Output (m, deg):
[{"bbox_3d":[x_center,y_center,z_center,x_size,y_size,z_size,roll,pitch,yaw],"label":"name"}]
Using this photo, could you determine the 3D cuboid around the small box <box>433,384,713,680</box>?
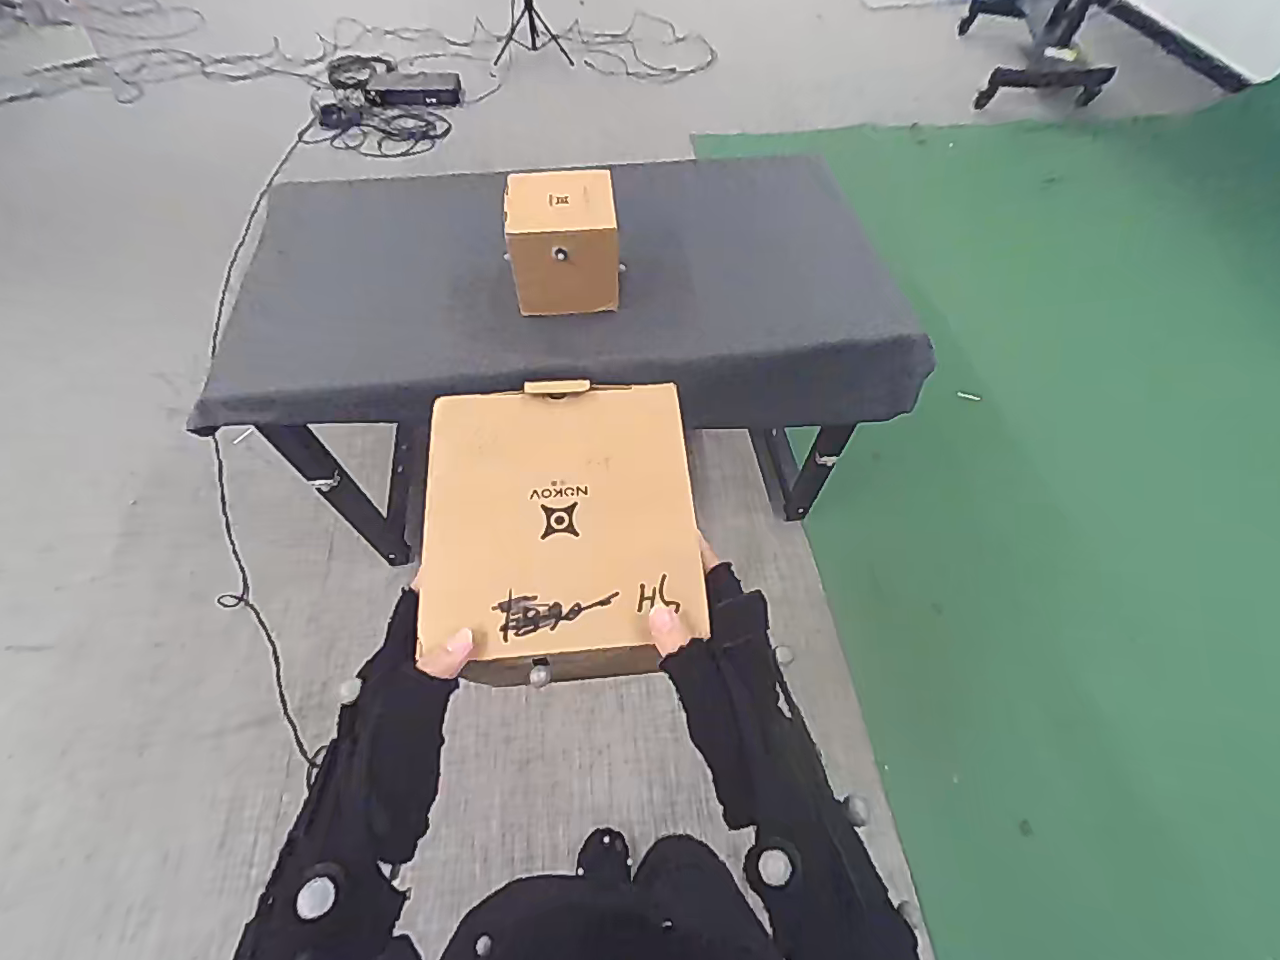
[{"bbox_3d":[-0.051,0.048,0.421,0.168,0.176,0.179,-6,66,-6],"label":"small box"}]

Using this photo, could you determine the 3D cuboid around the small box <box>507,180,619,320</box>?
[{"bbox_3d":[-0.131,-0.401,0.957,0.179,0.176,0.168,-4,59,-5],"label":"small box"}]
